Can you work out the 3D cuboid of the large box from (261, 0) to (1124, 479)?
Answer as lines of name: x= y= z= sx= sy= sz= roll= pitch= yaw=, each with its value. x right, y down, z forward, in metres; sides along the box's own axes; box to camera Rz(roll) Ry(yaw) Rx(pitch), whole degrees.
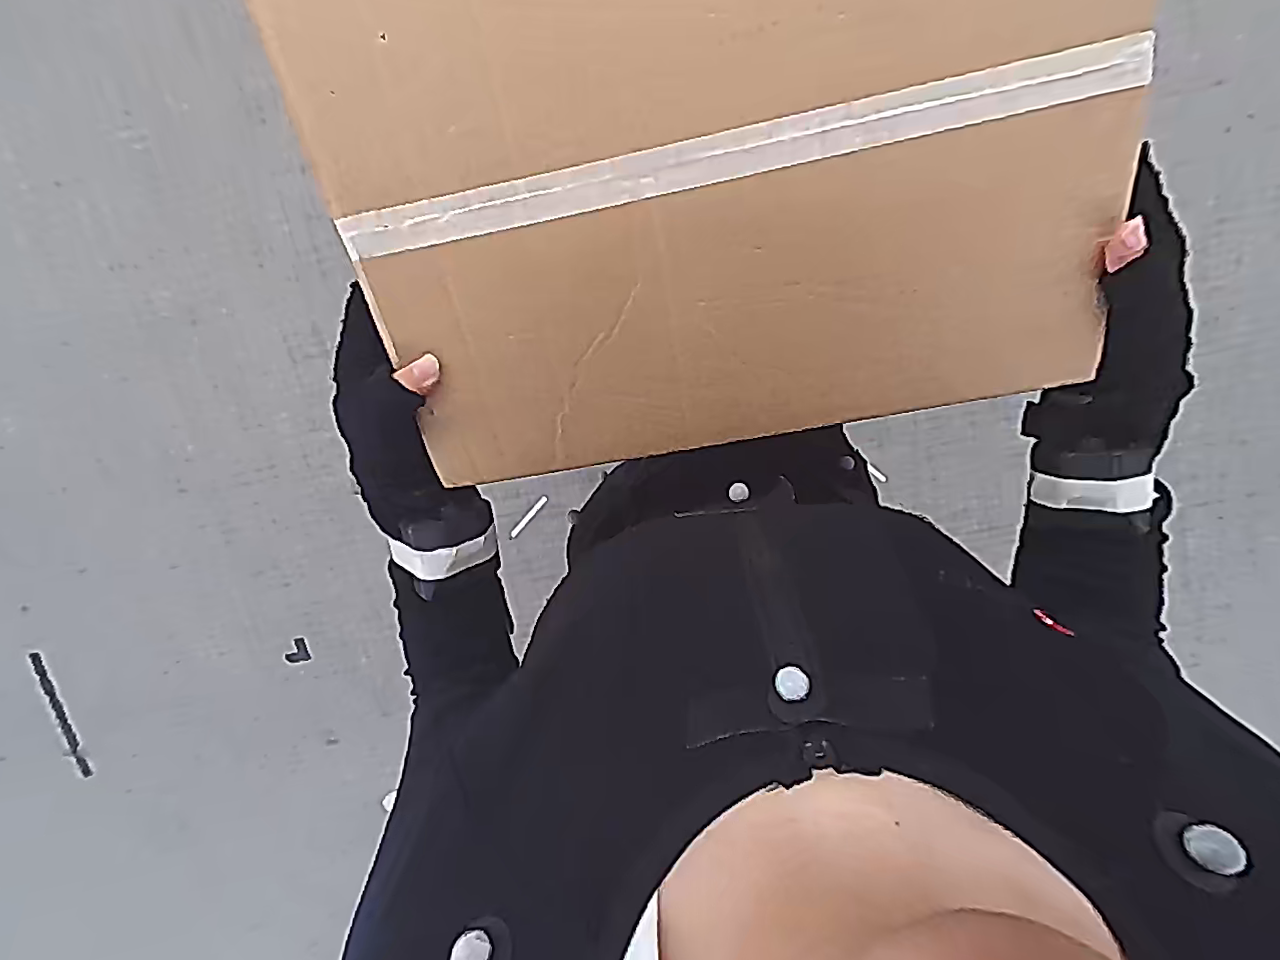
large box: x=0.039 y=-0.235 z=0.416 sx=0.408 sy=0.320 sz=0.320 roll=-9 pitch=115 yaw=6
